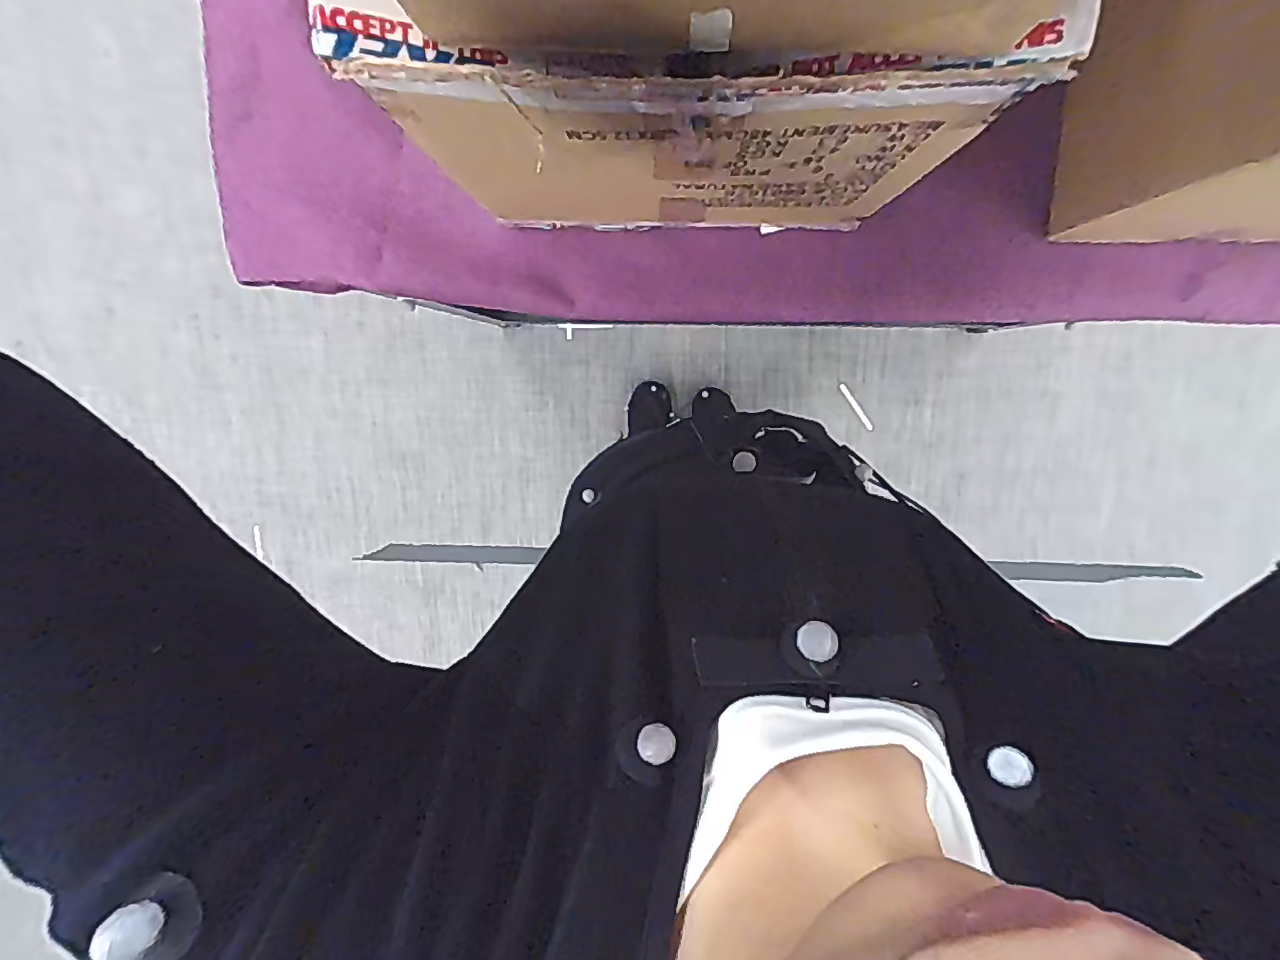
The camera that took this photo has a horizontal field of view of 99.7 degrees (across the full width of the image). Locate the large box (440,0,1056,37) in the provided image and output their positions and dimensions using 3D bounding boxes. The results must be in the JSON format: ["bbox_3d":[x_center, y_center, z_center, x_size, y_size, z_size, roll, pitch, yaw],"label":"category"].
[{"bbox_3d":[0.046,-0.396,0.097,0.320,0.320,0.408,3,102,4],"label":"large box"}]
